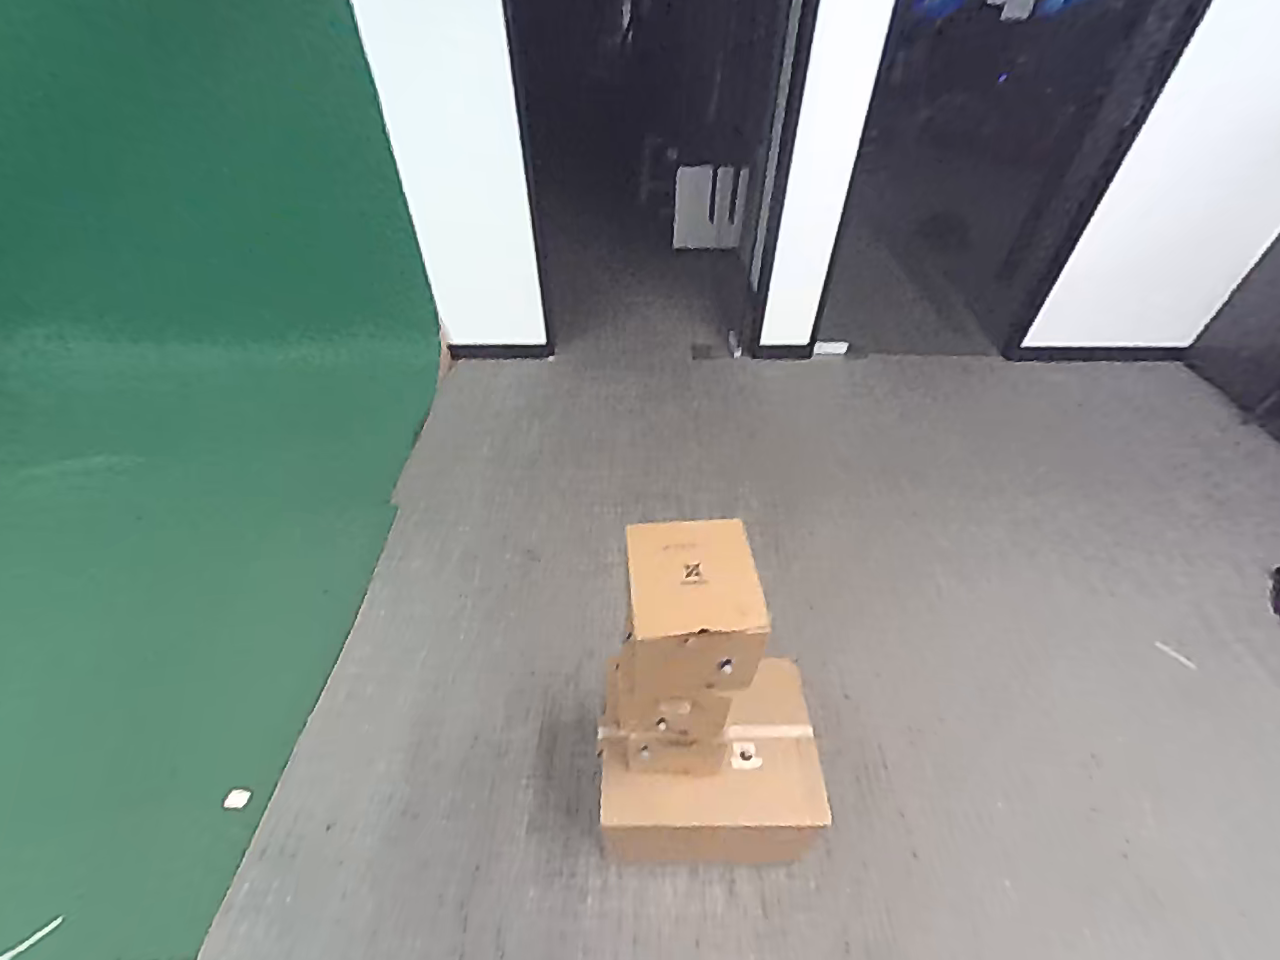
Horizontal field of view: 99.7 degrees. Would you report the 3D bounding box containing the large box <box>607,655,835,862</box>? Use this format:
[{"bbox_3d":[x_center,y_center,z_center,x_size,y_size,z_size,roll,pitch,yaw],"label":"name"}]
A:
[{"bbox_3d":[0.134,0.585,1.138,0.408,0.320,0.320,1,46,-1],"label":"large box"}]

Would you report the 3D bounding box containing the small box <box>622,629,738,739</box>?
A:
[{"bbox_3d":[0.061,0.286,0.862,0.168,0.176,0.179,4,45,3],"label":"small box"}]

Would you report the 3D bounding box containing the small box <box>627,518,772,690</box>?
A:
[{"bbox_3d":[0.069,0.175,0.744,0.168,0.176,0.179,-2,44,-4],"label":"small box"}]
